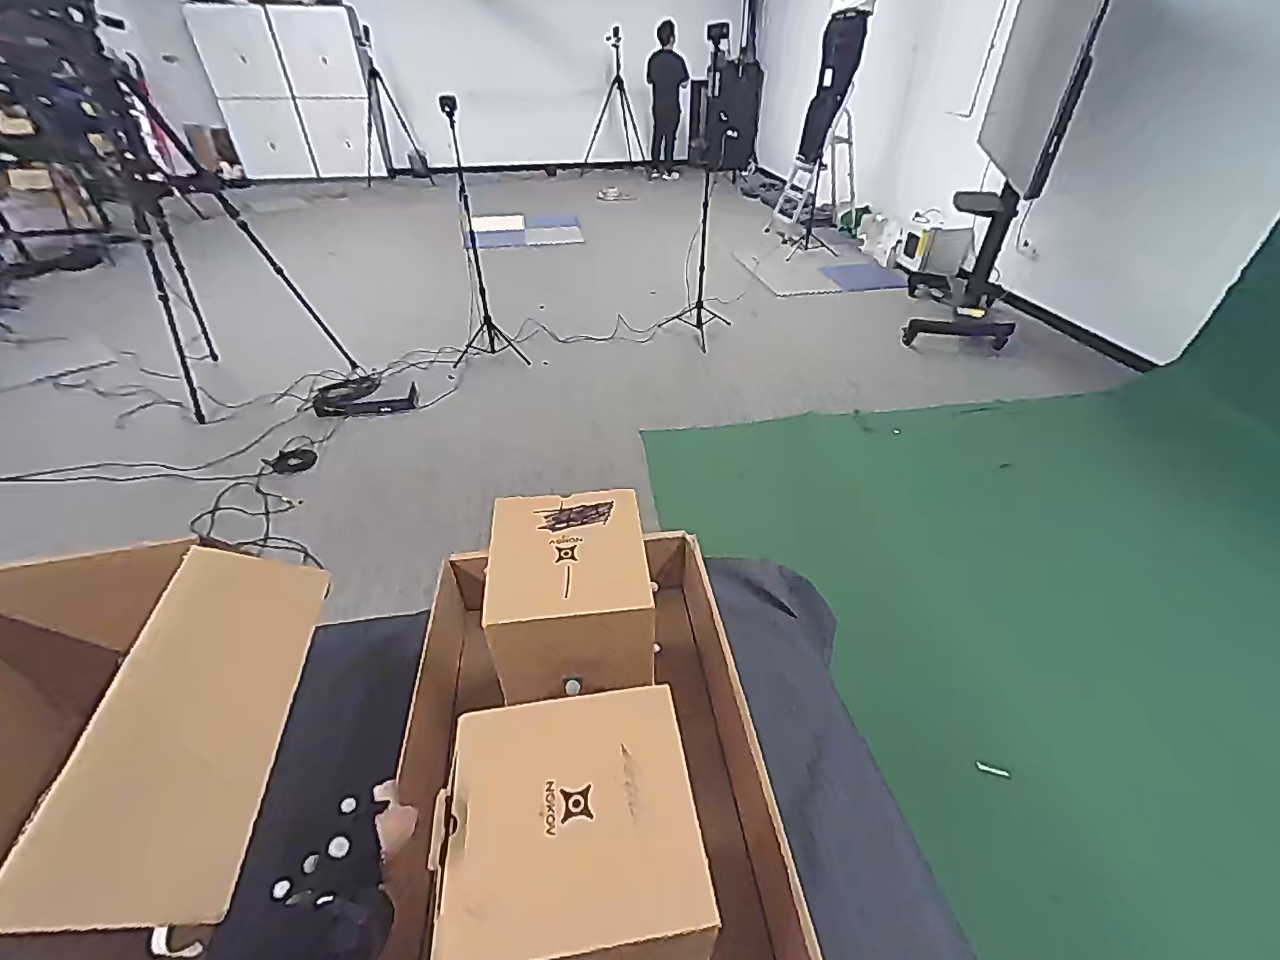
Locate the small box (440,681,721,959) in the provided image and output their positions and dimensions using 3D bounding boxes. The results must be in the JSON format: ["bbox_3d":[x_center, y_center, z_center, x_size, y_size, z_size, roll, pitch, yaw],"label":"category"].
[{"bbox_3d":[-0.044,0.292,0.437,0.179,0.176,0.168,-6,39,-7],"label":"small box"}]

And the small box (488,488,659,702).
[{"bbox_3d":[-0.072,0.132,0.628,0.168,0.176,0.179,-5,42,-5],"label":"small box"}]
